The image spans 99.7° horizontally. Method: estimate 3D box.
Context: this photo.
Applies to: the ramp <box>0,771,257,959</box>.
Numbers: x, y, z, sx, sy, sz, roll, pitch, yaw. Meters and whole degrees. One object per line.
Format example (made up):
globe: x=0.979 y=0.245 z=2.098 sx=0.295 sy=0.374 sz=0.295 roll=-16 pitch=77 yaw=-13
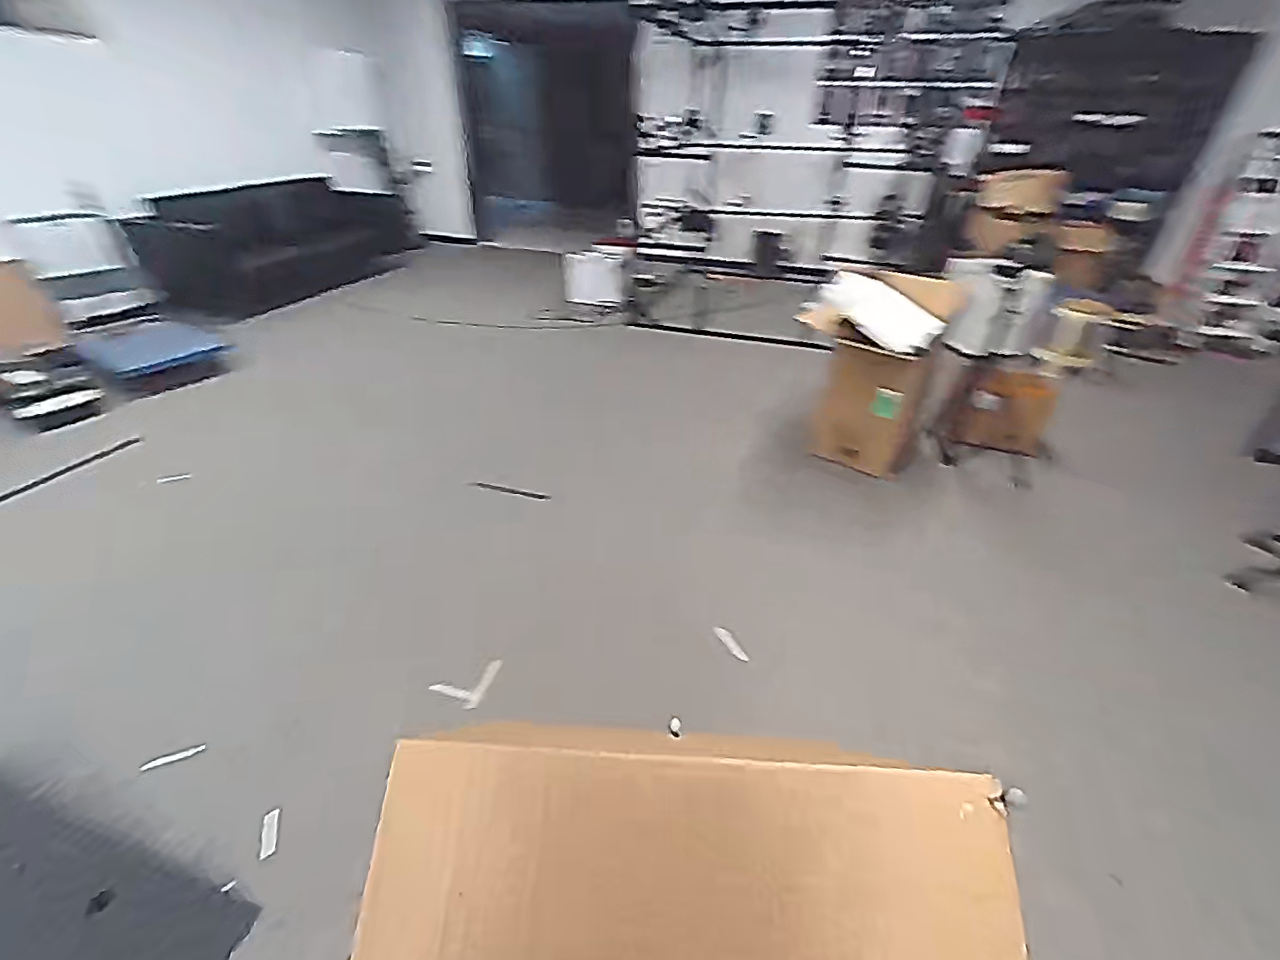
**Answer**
ramp: x=-1.351 y=0.888 z=1.043 sx=0.991 sy=0.206 sz=0.509 roll=11 pitch=34 yaw=12
